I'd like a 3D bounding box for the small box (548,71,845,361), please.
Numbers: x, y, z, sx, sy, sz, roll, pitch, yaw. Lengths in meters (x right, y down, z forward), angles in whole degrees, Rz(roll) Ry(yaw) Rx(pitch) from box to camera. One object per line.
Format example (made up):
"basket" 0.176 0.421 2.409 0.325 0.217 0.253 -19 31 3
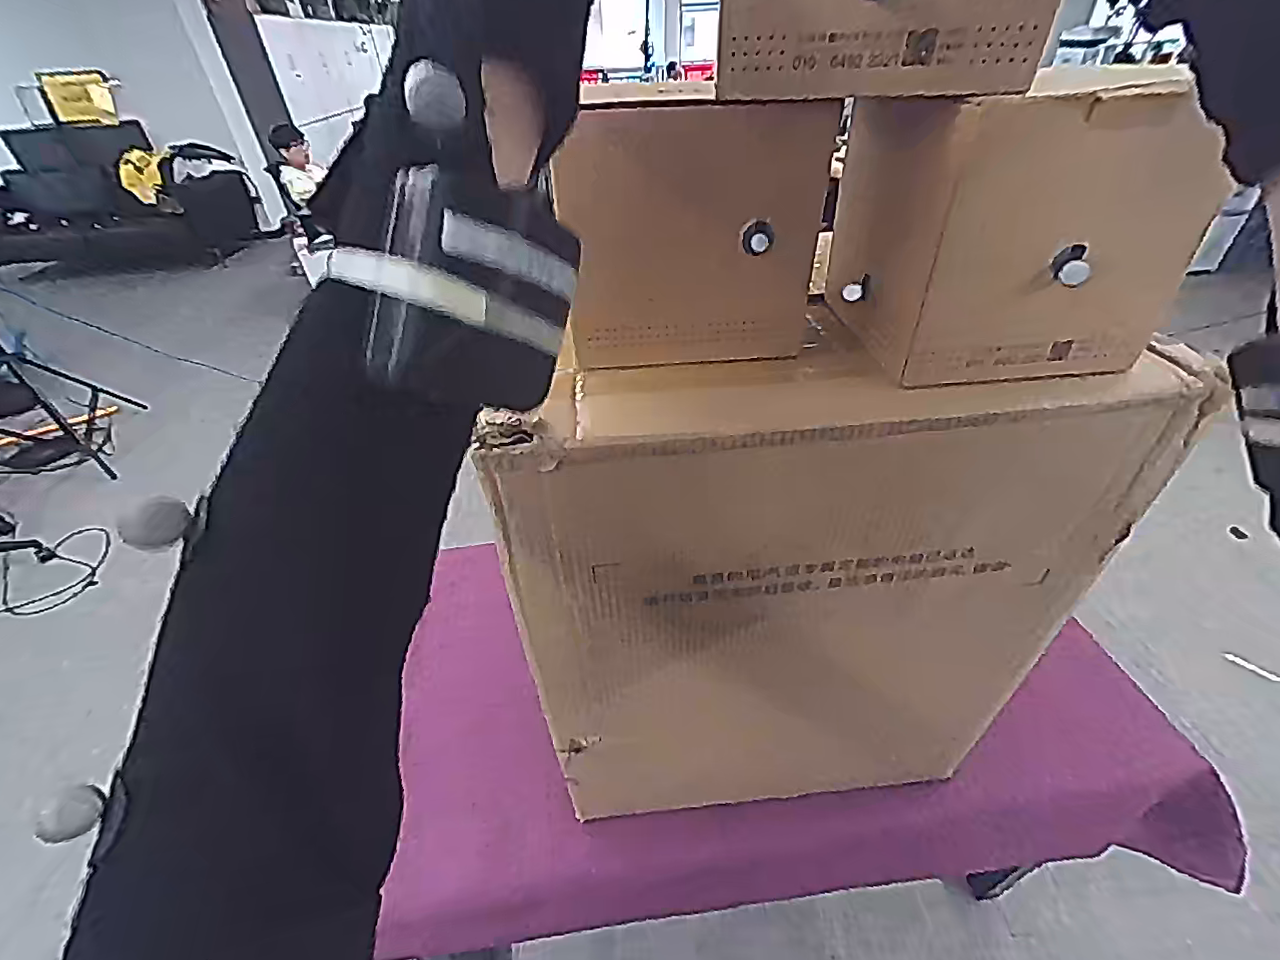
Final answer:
"small box" 0.030 -0.206 0.420 0.179 0.176 0.168 -5 39 -3

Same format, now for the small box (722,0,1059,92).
"small box" 0.135 -0.328 0.304 0.168 0.176 0.179 4 40 8

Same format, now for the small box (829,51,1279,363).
"small box" 0.253 -0.193 0.390 0.168 0.176 0.179 -4 39 -1
